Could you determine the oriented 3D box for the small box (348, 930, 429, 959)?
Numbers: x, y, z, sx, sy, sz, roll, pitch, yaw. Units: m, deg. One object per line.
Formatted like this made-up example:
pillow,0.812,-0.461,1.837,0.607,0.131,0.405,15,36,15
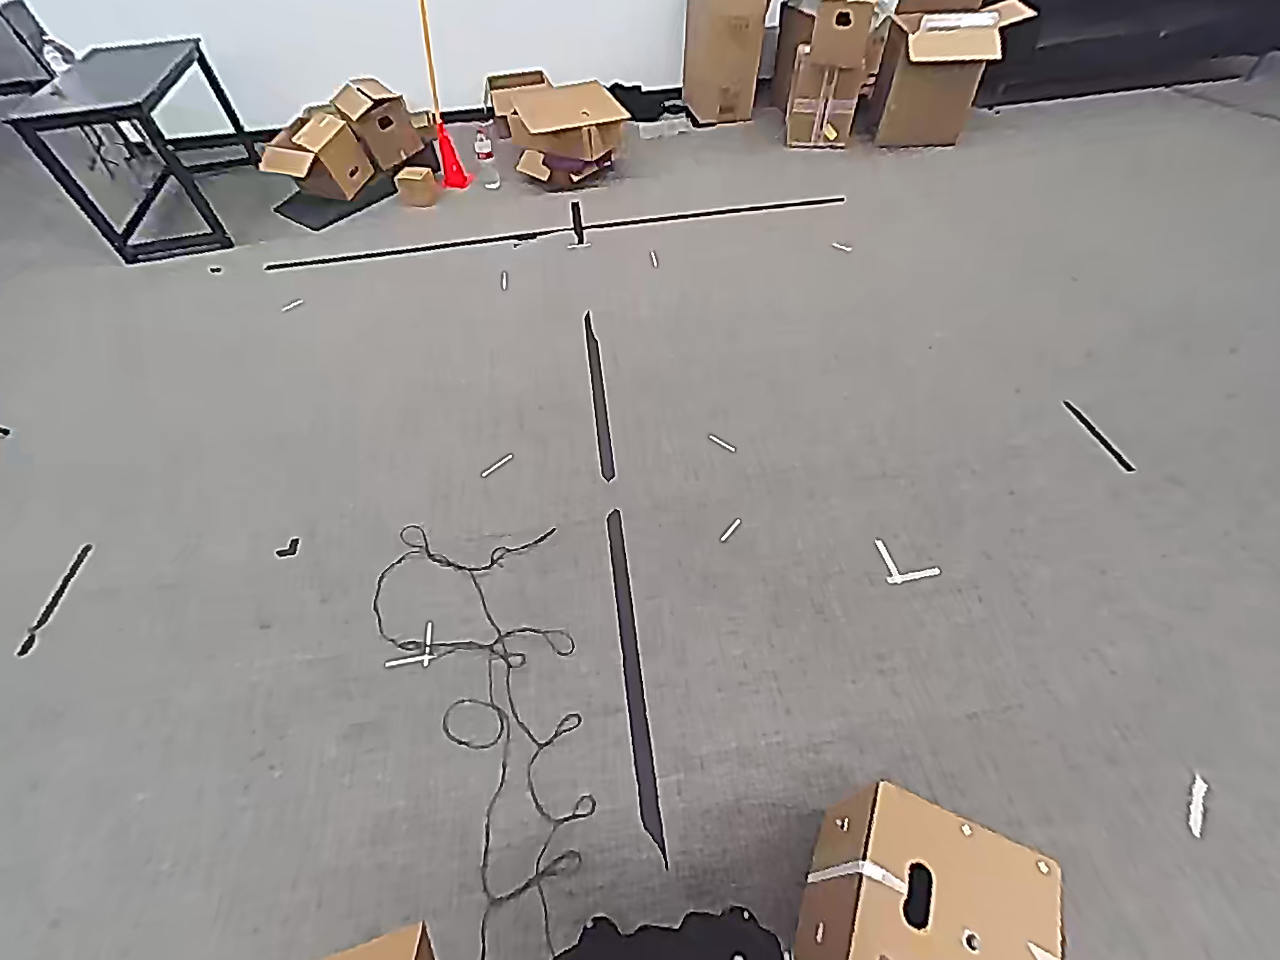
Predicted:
small box,-0.334,0.716,0.647,0.168,0.179,0.176,-14,93,-11
